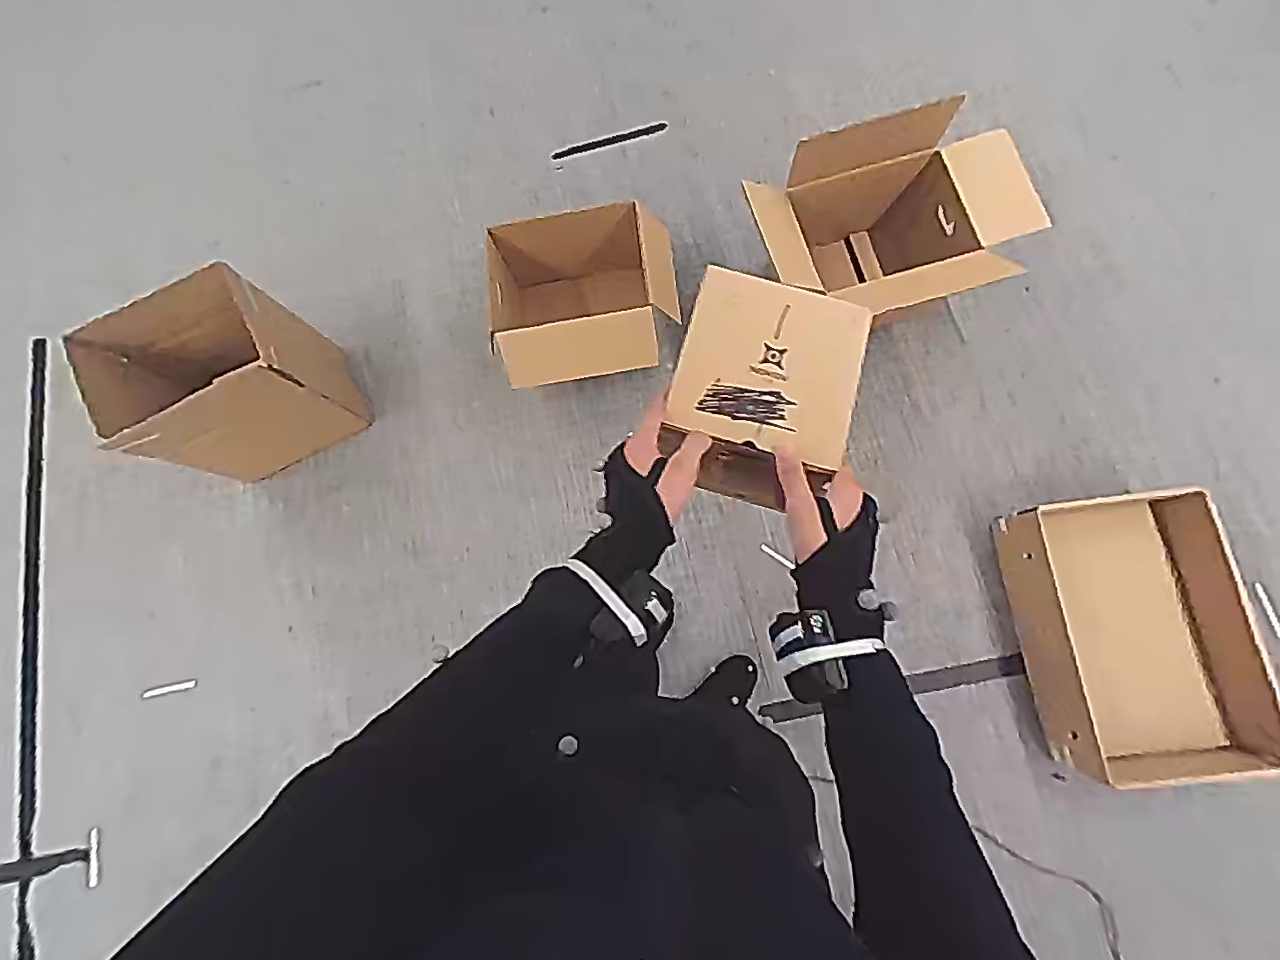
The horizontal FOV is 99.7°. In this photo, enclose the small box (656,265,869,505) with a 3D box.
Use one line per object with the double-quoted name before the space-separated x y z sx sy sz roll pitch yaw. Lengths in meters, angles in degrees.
"small box" 0.116 -0.086 0.575 0.168 0.176 0.179 16 74 3
